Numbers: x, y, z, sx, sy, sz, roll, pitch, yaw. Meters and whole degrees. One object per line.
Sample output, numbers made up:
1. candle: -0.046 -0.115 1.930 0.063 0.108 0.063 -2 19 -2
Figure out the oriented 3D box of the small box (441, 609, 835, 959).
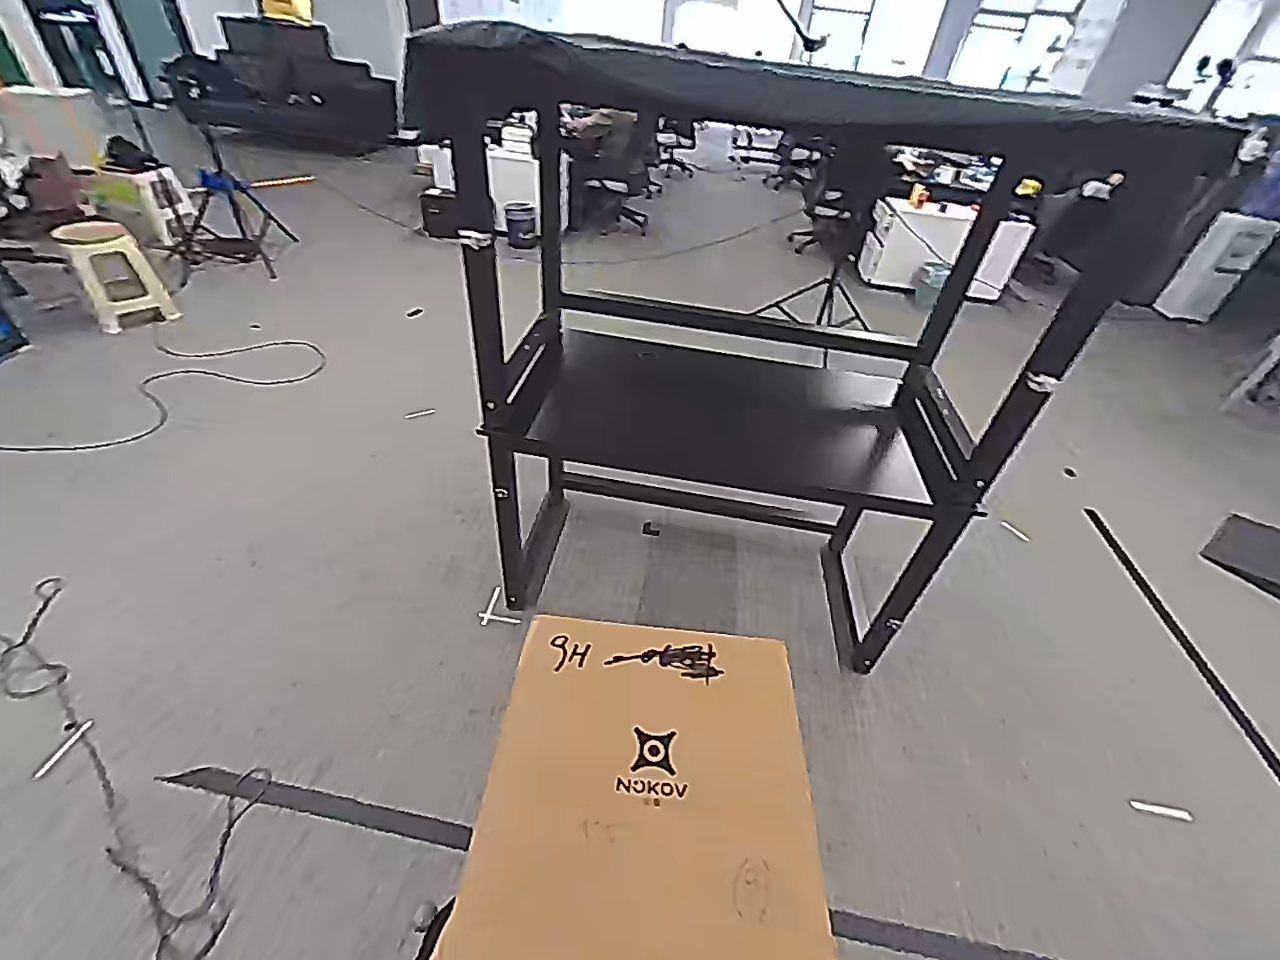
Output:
1. small box: 0.001 0.207 0.329 0.168 0.176 0.179 7 41 0
